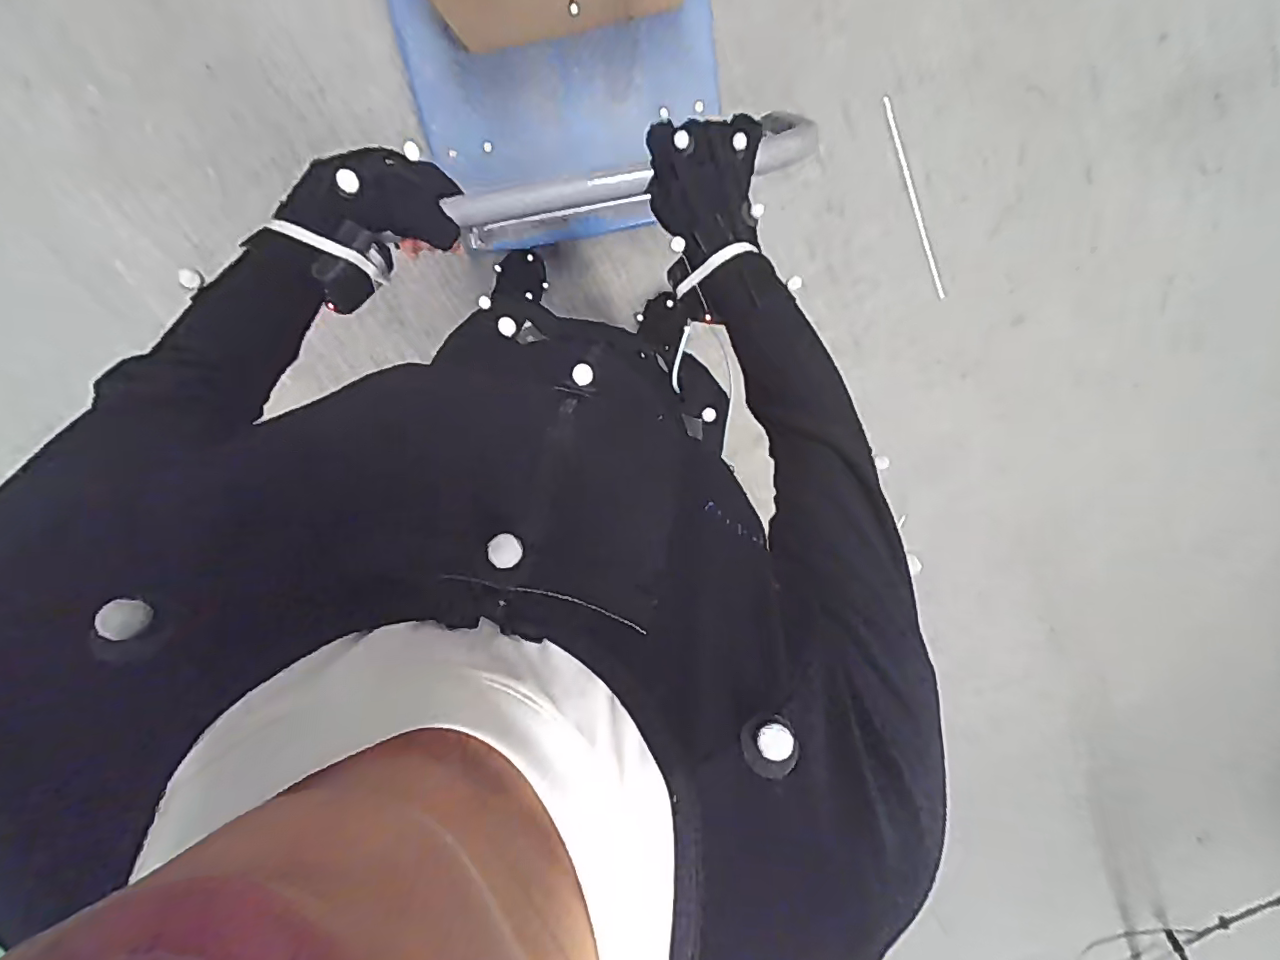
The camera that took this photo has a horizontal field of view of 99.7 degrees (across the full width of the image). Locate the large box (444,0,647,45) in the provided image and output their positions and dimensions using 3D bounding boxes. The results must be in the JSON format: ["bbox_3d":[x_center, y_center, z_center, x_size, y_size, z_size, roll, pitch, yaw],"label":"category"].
[{"bbox_3d":[-0.133,-0.920,0.799,0.408,0.320,0.320,-12,114,4],"label":"large box"}]
